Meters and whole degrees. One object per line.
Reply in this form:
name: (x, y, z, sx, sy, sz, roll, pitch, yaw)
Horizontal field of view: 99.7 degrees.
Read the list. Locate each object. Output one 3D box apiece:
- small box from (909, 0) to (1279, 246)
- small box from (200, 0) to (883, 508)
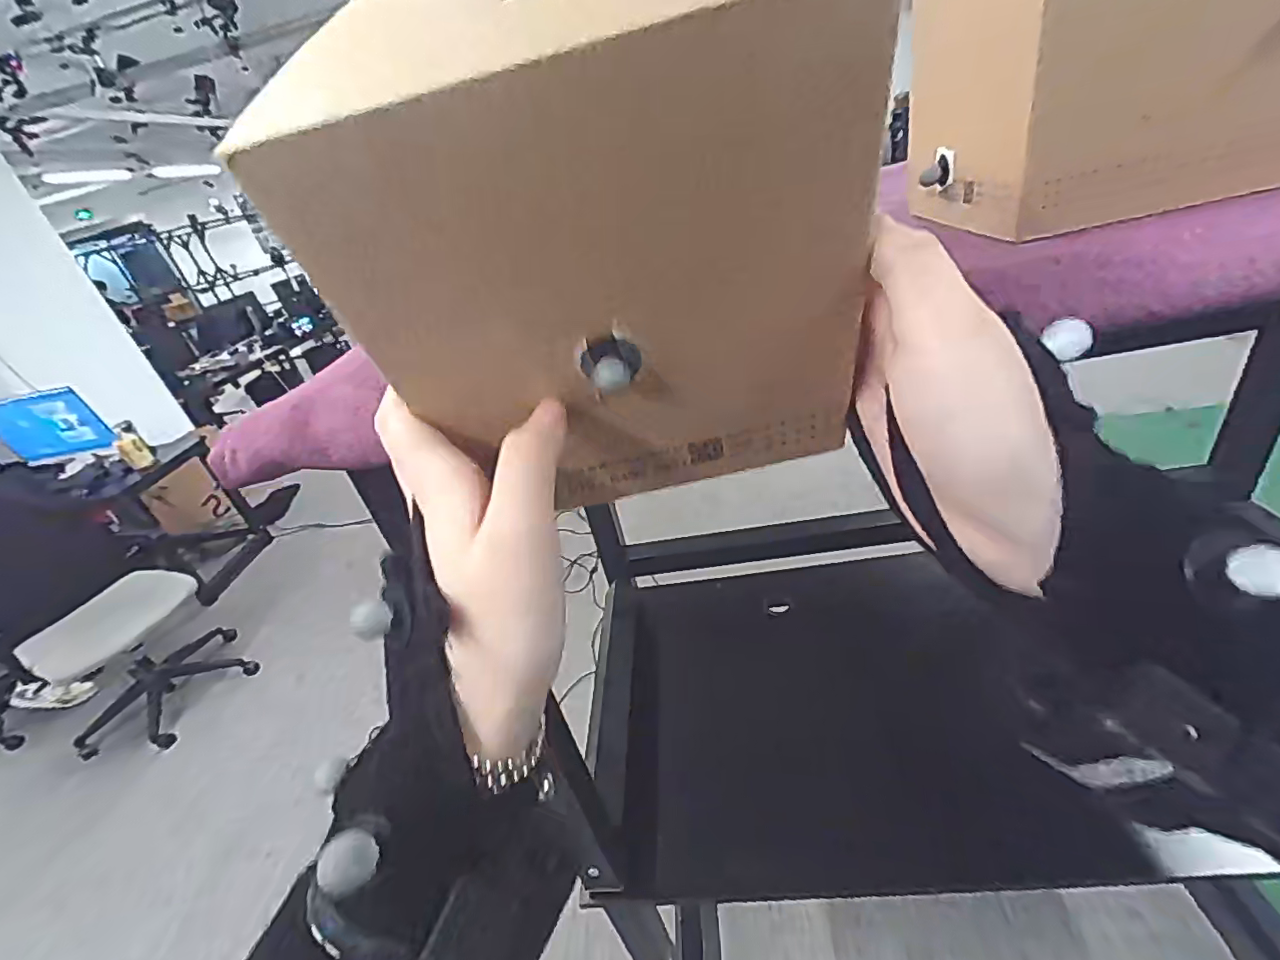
small box: (0.287, -0.262, 0.335, 0.179, 0.176, 0.168, -11, 31, 8)
small box: (-0.018, -0.104, 0.232, 0.168, 0.176, 0.179, -12, 52, 5)
